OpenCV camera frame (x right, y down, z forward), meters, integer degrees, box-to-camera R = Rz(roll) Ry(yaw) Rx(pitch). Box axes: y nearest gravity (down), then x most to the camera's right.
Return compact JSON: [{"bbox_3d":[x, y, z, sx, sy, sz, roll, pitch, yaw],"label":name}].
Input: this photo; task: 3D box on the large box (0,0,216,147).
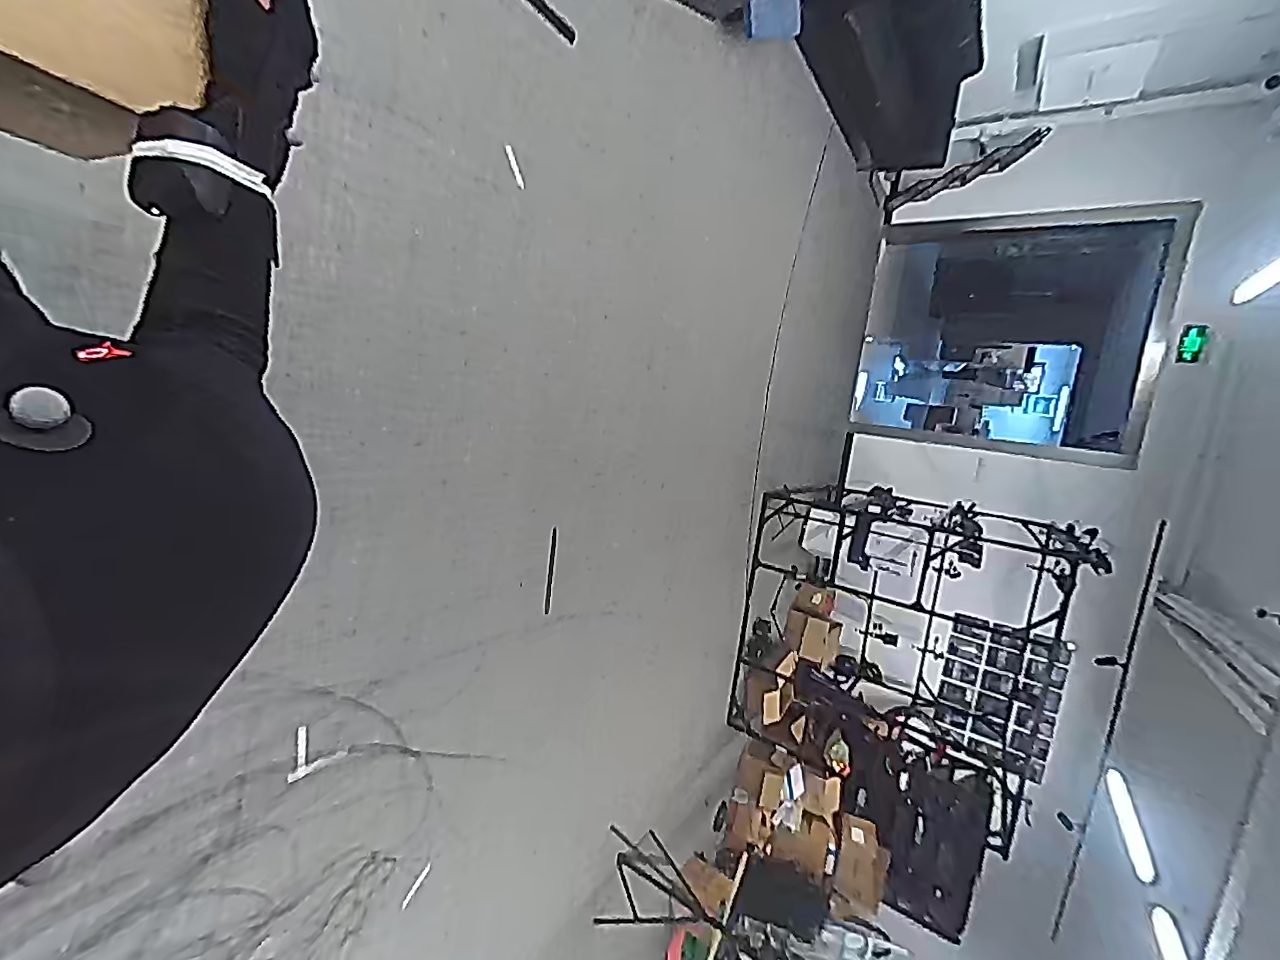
[{"bbox_3d":[-0.539,-0.461,0.313,0.408,0.320,0.320,2,104,-59],"label":"large box"}]
